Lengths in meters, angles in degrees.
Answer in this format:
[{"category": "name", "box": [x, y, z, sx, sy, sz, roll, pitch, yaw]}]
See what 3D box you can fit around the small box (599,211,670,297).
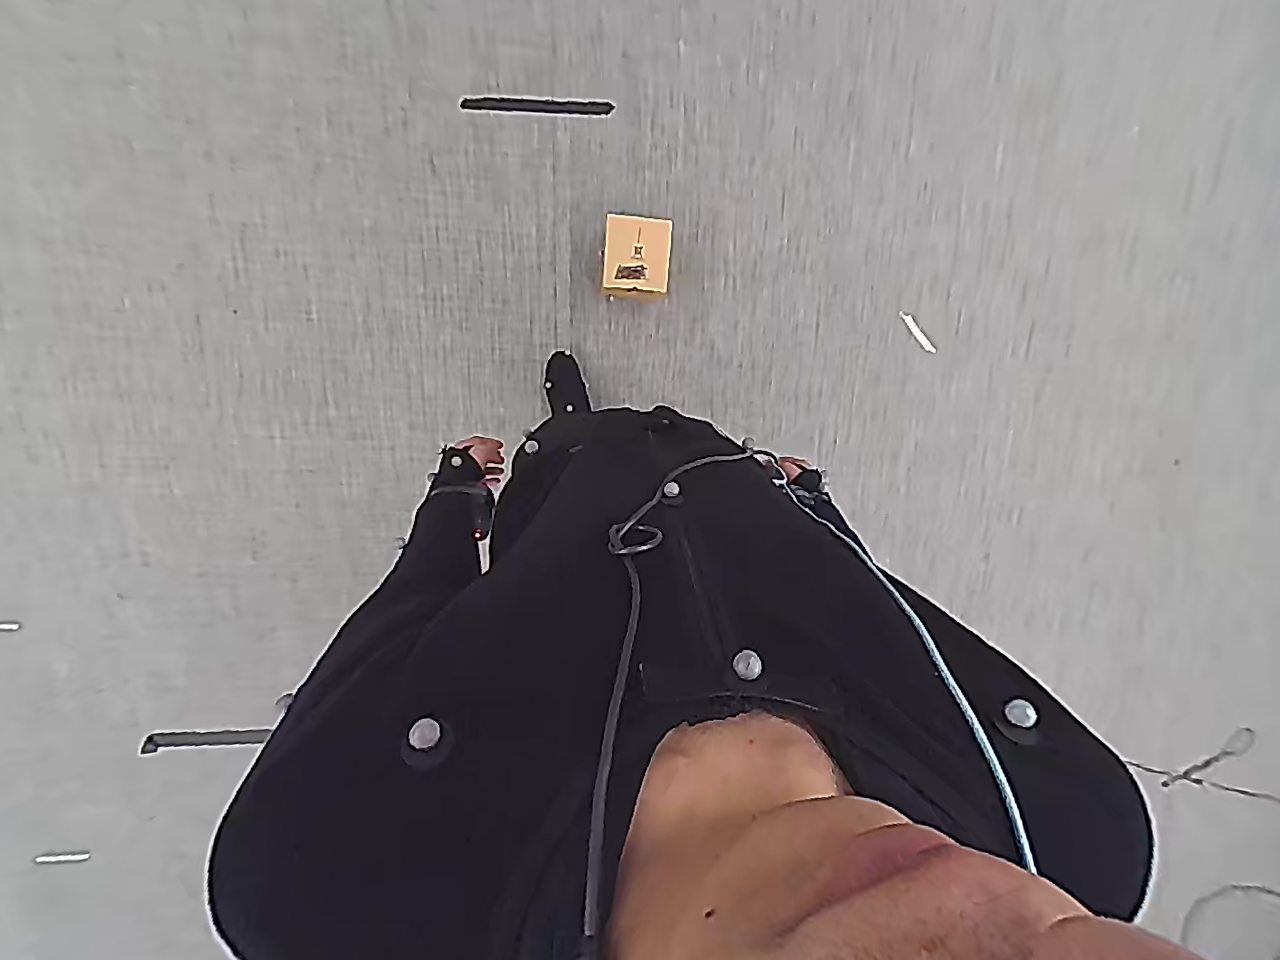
[{"category": "small box", "box": [-0.020, -0.586, 1.425, 0.168, 0.176, 0.179, 3, 102, -7]}]
